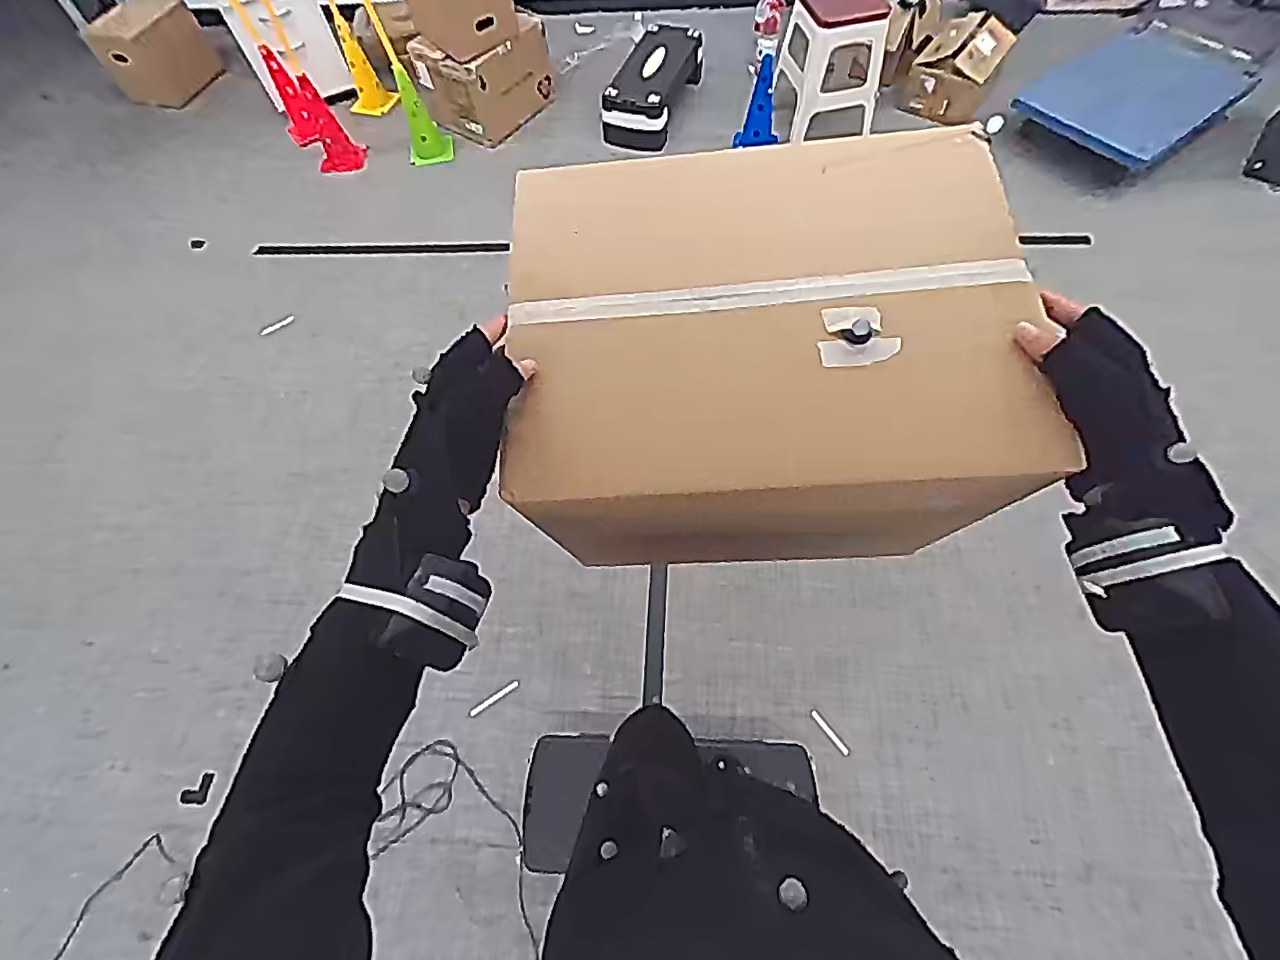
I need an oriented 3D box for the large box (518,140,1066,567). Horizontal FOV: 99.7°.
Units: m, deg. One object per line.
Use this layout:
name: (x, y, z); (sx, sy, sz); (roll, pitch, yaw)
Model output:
large box: (0.108, -0.094, 0.579); (0.408, 0.320, 0.320); (-3, 72, 4)
